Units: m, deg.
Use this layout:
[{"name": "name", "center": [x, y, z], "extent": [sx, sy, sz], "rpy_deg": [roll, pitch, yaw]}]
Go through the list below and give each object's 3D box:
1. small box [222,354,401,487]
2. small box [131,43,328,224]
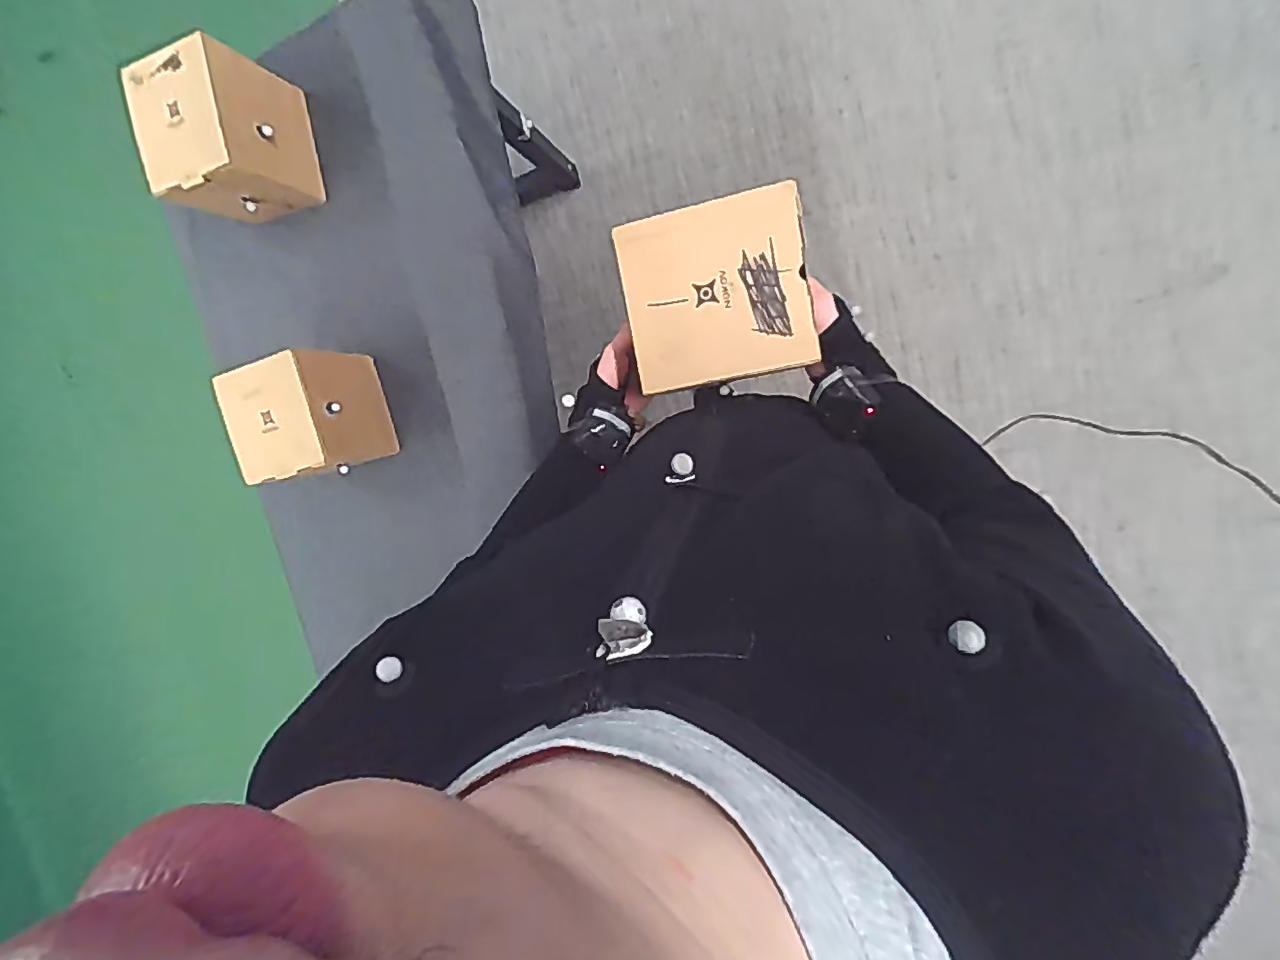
[{"name": "small box", "center": [-0.533, -0.100, 0.899], "extent": [0.168, 0.176, 0.179], "rpy_deg": [-13, 94, 17]}, {"name": "small box", "center": [-0.630, -0.523, 0.852], "extent": [0.168, 0.176, 0.179], "rpy_deg": [-6, 98, 17]}]
